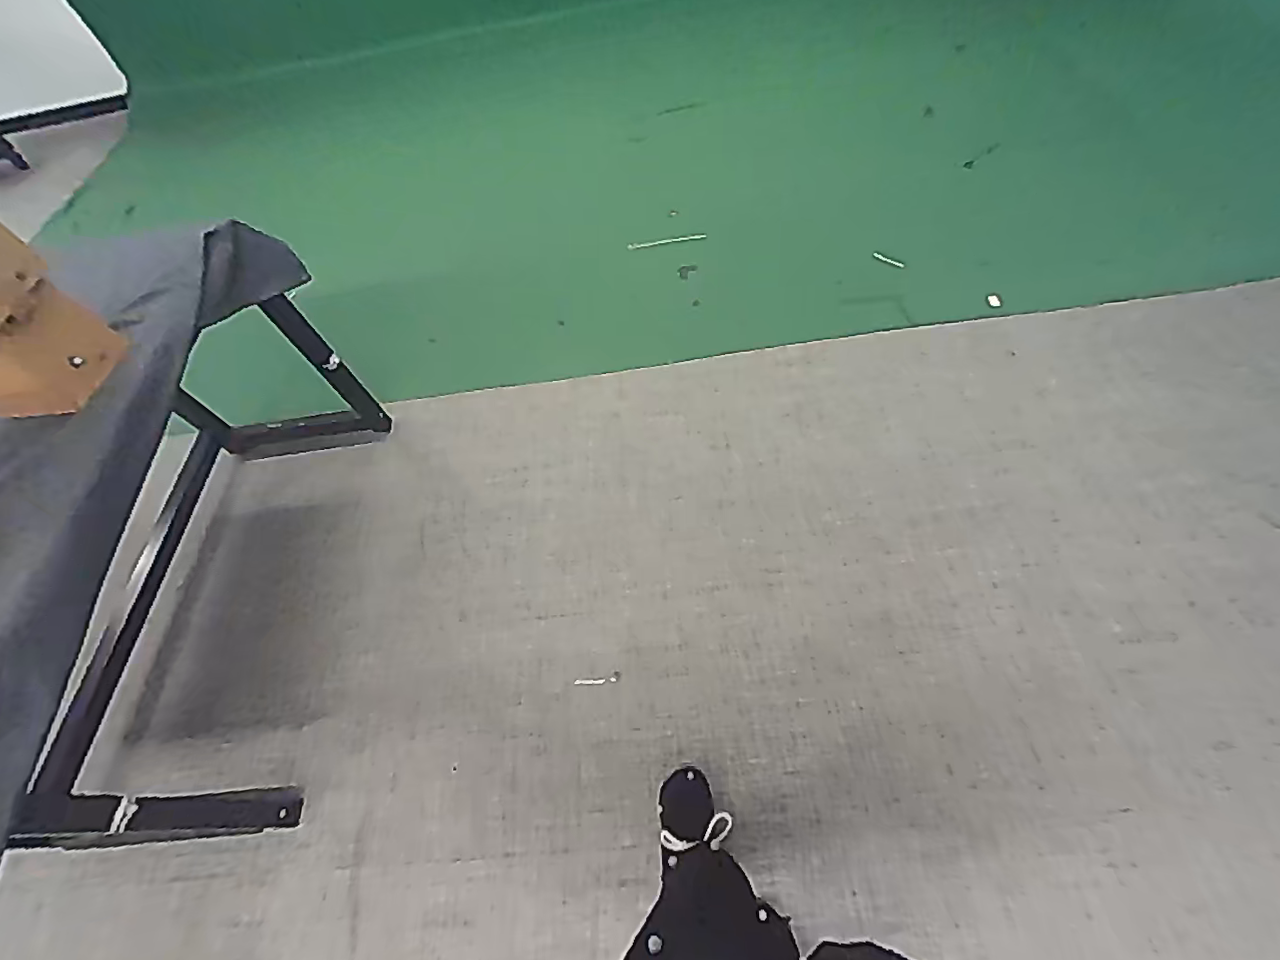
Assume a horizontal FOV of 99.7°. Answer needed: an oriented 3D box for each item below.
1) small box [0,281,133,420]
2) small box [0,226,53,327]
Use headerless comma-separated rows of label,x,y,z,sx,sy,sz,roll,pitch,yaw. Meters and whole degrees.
small box,-1.067,-0.220,0.941,0.179,0.176,0.168,-4,57,7
small box,-1.071,-0.321,0.810,0.179,0.176,0.168,-7,57,4
